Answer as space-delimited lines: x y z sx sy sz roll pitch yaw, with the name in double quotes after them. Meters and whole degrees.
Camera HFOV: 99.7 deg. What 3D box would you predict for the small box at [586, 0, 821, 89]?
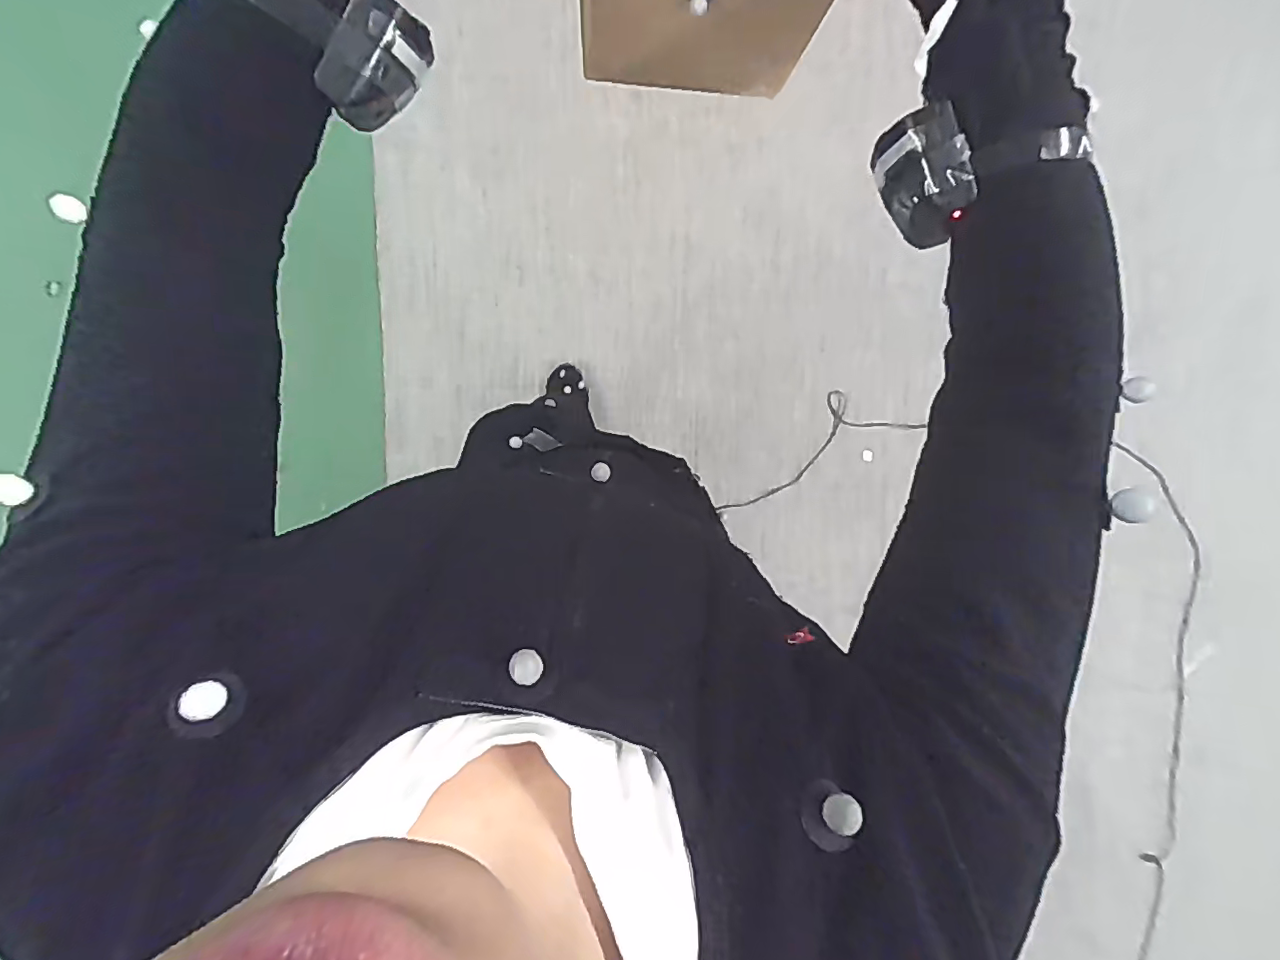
0.050 -0.419 0.391 0.179 0.176 0.168 2 100 -5 "small box"
